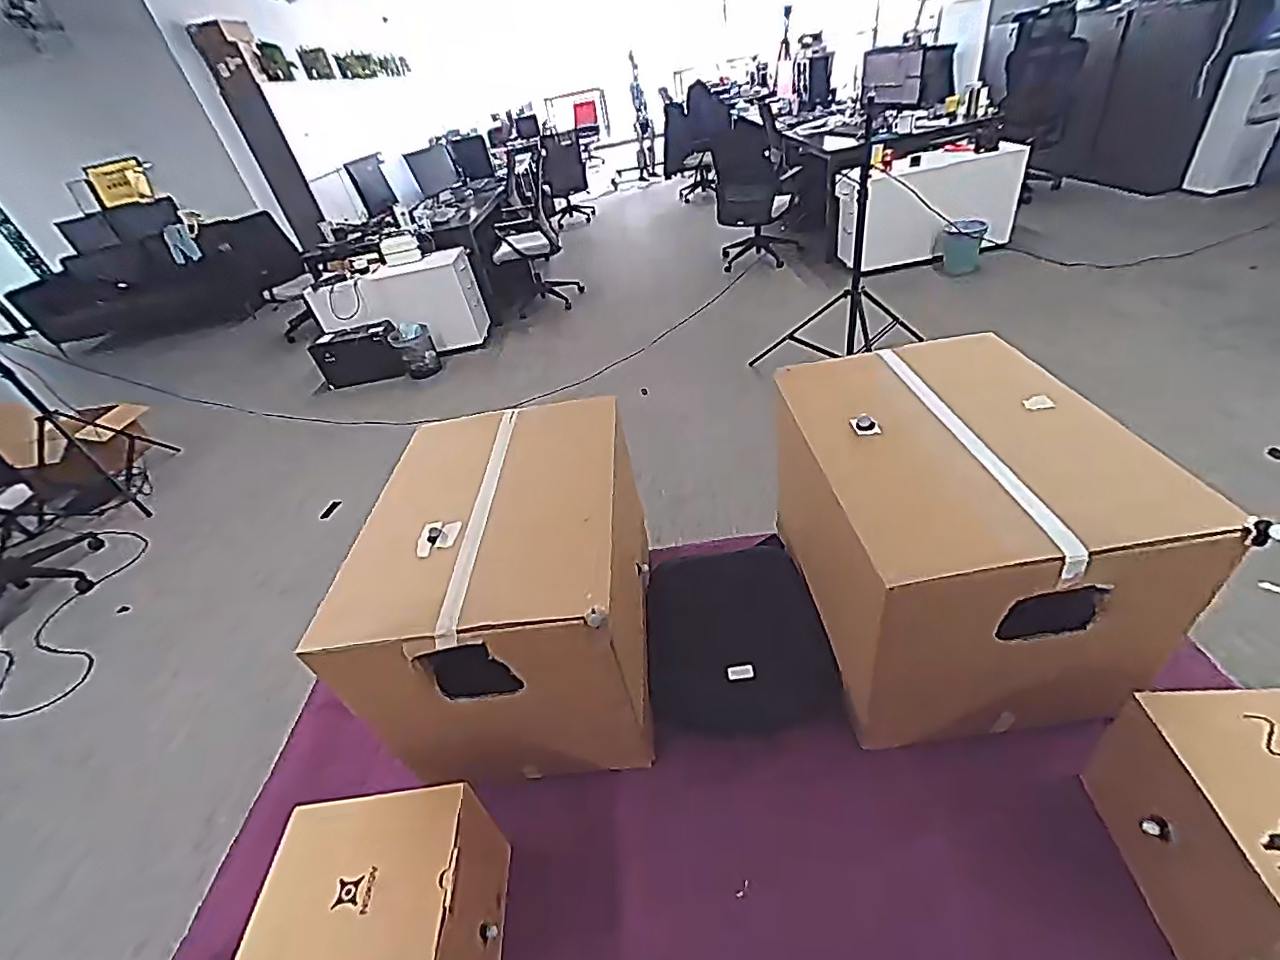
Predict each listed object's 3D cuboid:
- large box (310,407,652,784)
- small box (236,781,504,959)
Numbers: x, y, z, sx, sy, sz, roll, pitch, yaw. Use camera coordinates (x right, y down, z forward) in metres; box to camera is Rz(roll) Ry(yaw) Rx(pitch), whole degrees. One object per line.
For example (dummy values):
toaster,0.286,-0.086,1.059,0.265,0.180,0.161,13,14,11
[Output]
large box,-0.163,0.149,0.765,0.320,0.320,0.408,-9,40,5
small box,-0.249,0.432,0.533,0.179,0.176,0.168,-8,36,-1
